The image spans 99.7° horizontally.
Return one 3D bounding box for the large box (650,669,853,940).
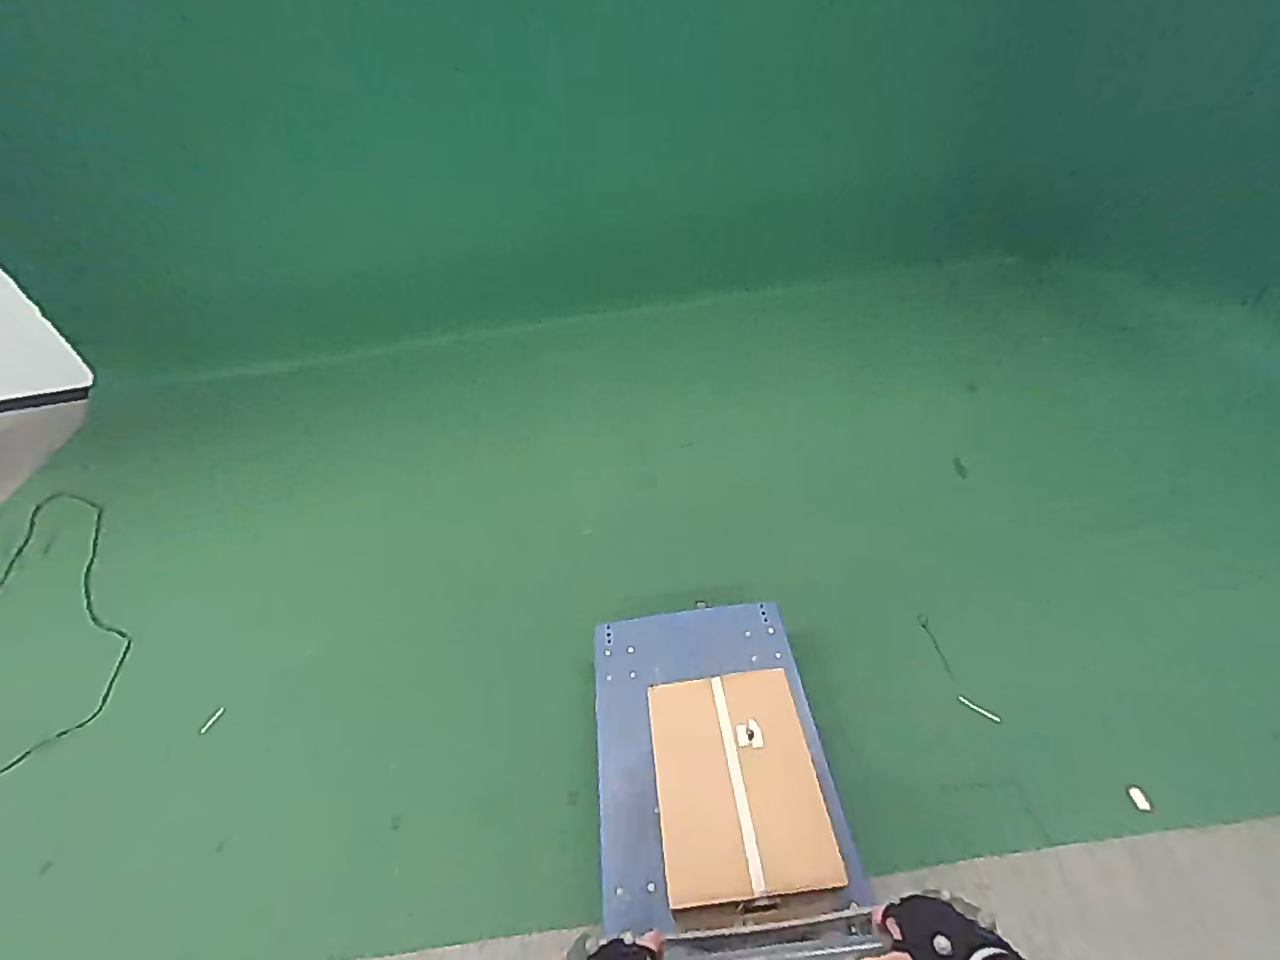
[{"bbox_3d":[0.210,0.683,1.157,0.320,0.320,0.408,-8,42,0],"label":"large box"}]
